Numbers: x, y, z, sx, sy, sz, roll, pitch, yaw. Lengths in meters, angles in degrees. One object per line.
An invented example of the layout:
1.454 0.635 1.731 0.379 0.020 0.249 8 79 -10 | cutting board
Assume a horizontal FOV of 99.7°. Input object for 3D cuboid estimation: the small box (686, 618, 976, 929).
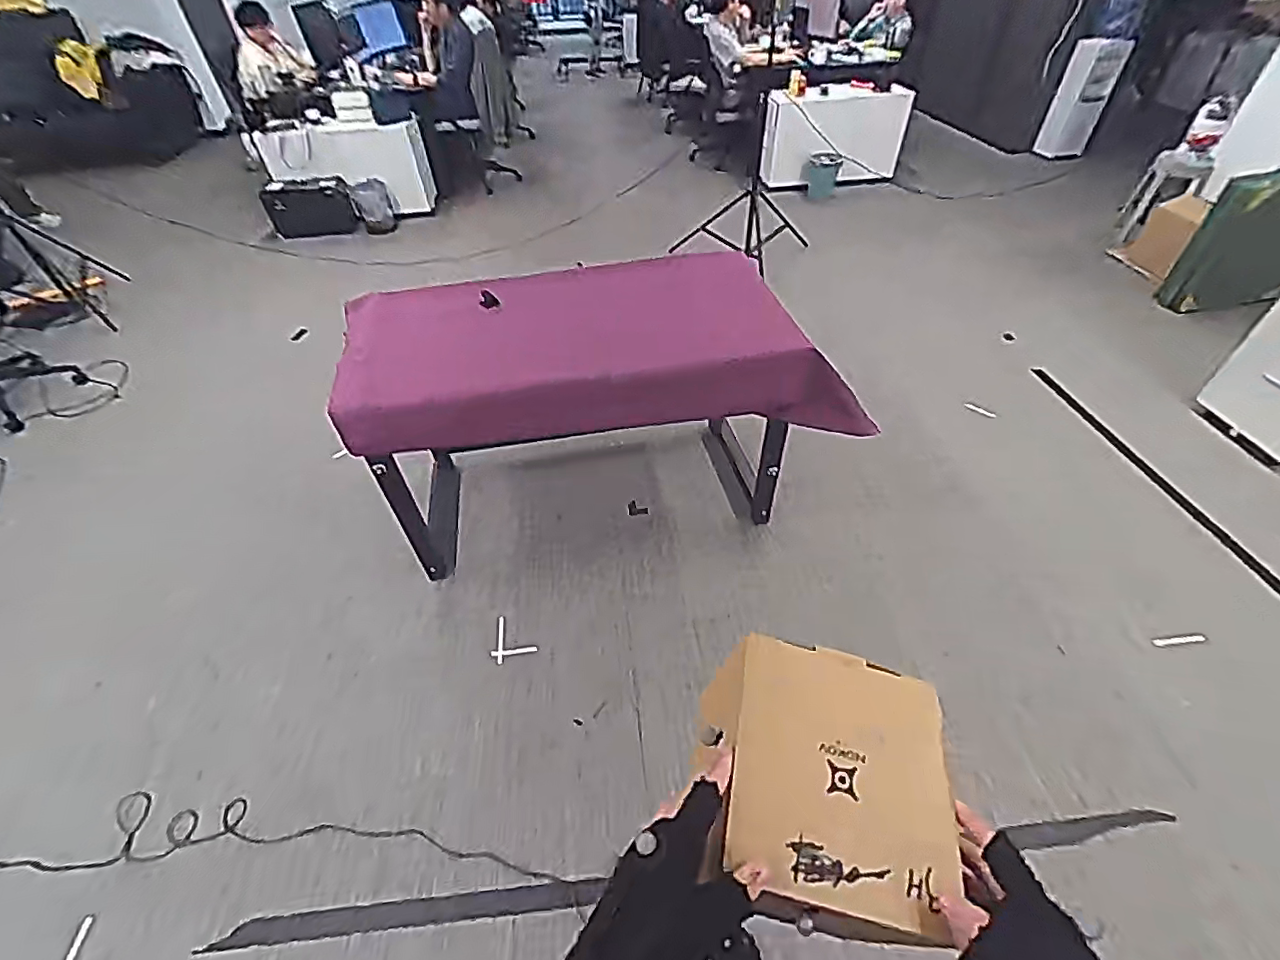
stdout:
0.143 0.252 0.463 0.168 0.176 0.179 15 49 2 | small box
